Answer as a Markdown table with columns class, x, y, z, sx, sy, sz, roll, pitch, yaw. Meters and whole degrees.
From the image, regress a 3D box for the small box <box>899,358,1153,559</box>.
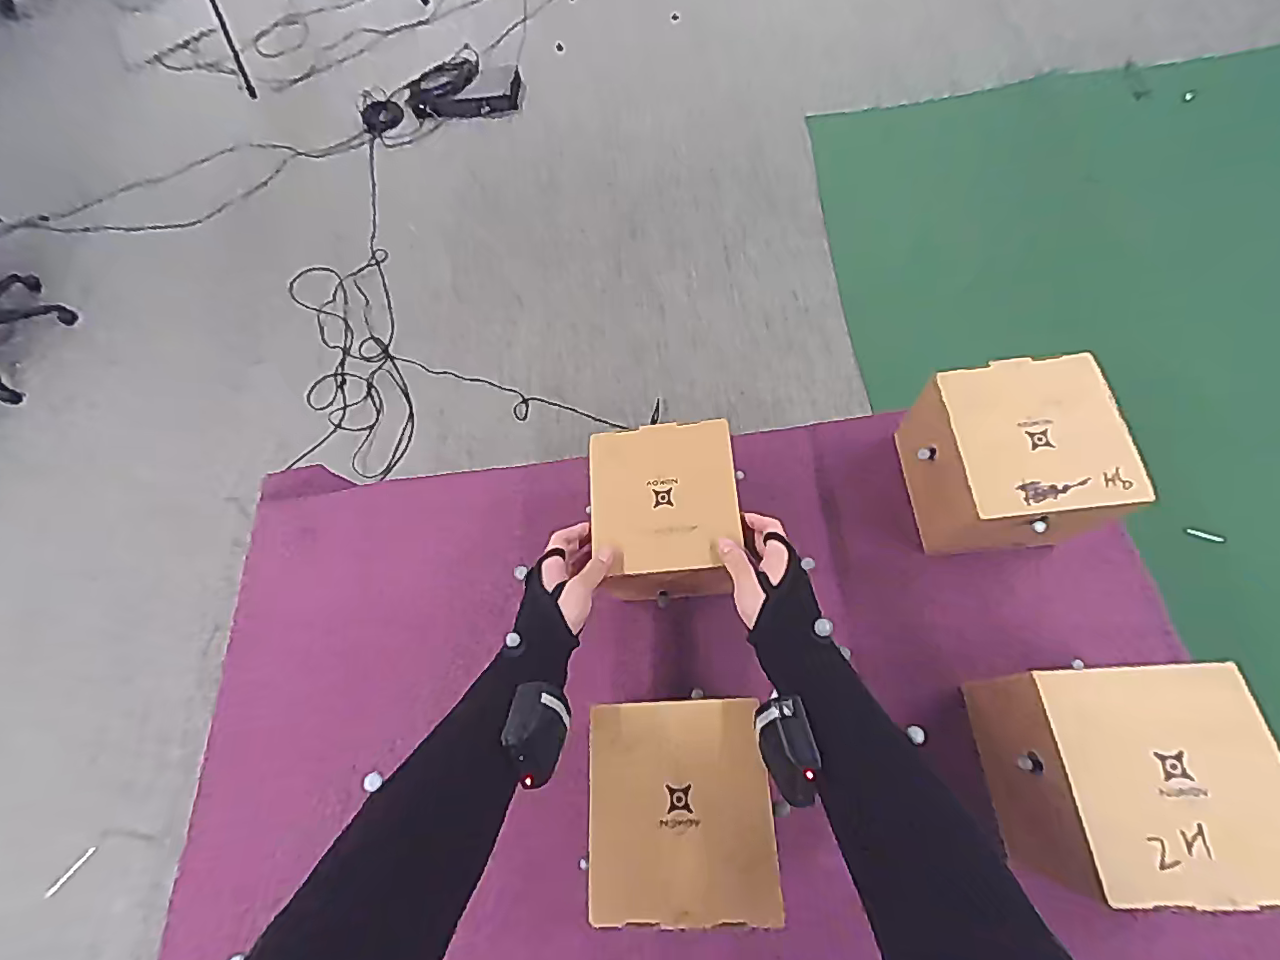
| class | x | y | z | sx | sy | sz | roll | pitch | yaw |
| --- | --- | --- | --- | --- | --- | --- | --- | --- | --- |
| small box | 0.429 | -0.017 | 0.642 | 0.168 | 0.176 | 0.179 | -7 | 67 | 7 |

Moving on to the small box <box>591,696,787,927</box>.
| class | x | y | z | sx | sy | sz | roll | pitch | yaw |
| --- | --- | --- | --- | --- | --- | --- | --- | --- | --- |
| small box | 0.046 | 0.324 | 0.555 | 0.168 | 0.176 | 0.179 | -5 | 65 | 5 |

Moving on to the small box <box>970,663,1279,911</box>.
| class | x | y | z | sx | sy | sz | roll | pitch | yaw |
| --- | --- | --- | --- | --- | --- | --- | --- | --- | --- |
| small box | 0.446 | 0.277 | 0.511 | 0.168 | 0.176 | 0.179 | -5 | 64 | 8 |

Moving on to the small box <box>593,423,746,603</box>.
| class | x | y | z | sx | sy | sz | roll | pitch | yaw |
| --- | --- | --- | --- | --- | --- | --- | --- | --- | --- |
| small box | 0.038 | 0.049 | 0.676 | 0.168 | 0.176 | 0.179 | -5 | 68 | 7 |
